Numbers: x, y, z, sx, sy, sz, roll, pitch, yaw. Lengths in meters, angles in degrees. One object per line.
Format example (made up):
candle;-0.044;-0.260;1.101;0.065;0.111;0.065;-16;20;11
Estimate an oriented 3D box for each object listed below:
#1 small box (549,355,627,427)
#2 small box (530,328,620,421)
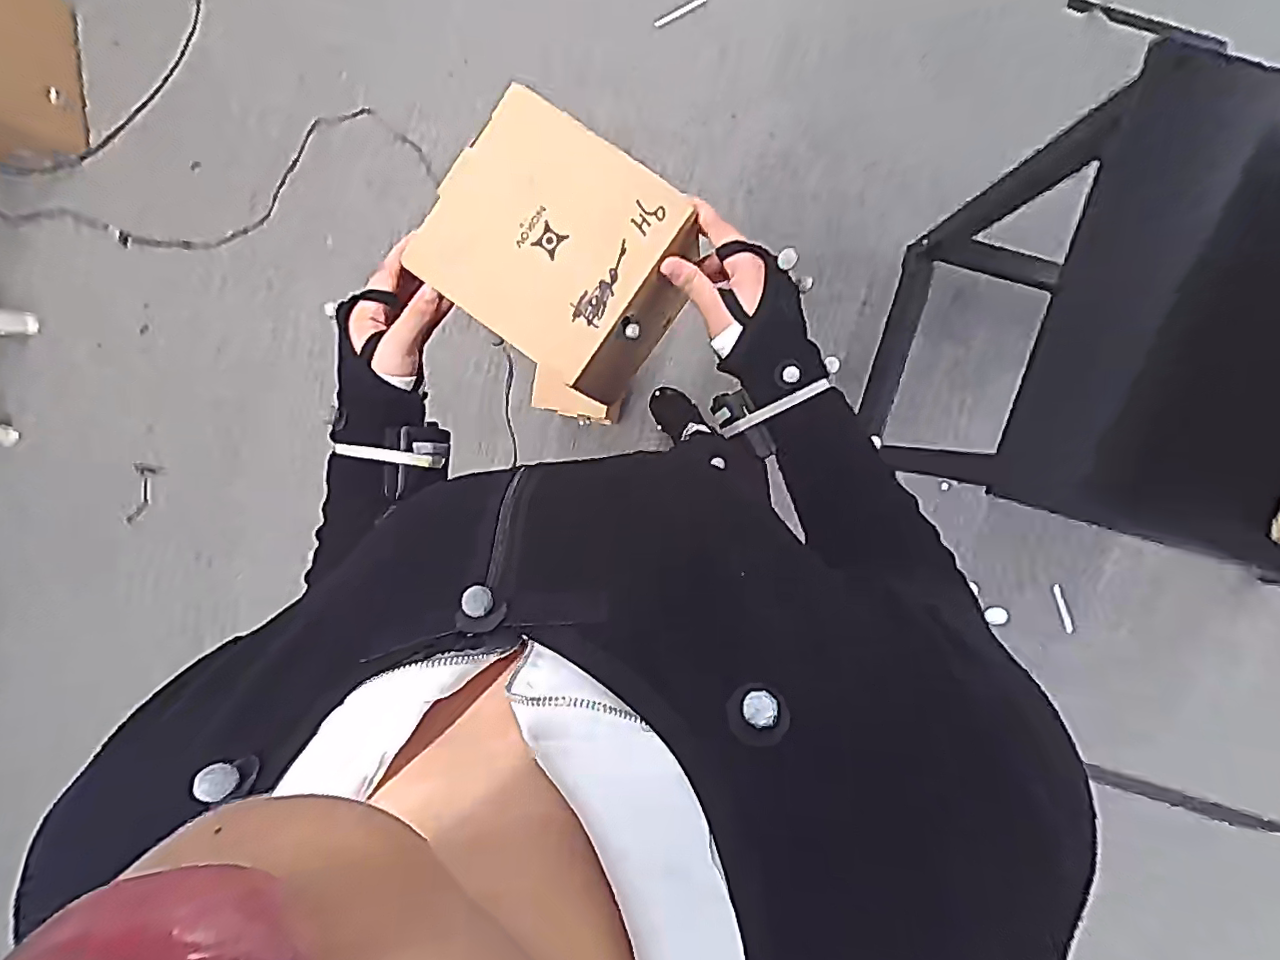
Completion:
small box;-0.132;-0.239;1.396;0.168;0.176;0.179;12;96;2
small box;-0.141;-0.232;1.235;0.168;0.176;0.179;9;94;1
